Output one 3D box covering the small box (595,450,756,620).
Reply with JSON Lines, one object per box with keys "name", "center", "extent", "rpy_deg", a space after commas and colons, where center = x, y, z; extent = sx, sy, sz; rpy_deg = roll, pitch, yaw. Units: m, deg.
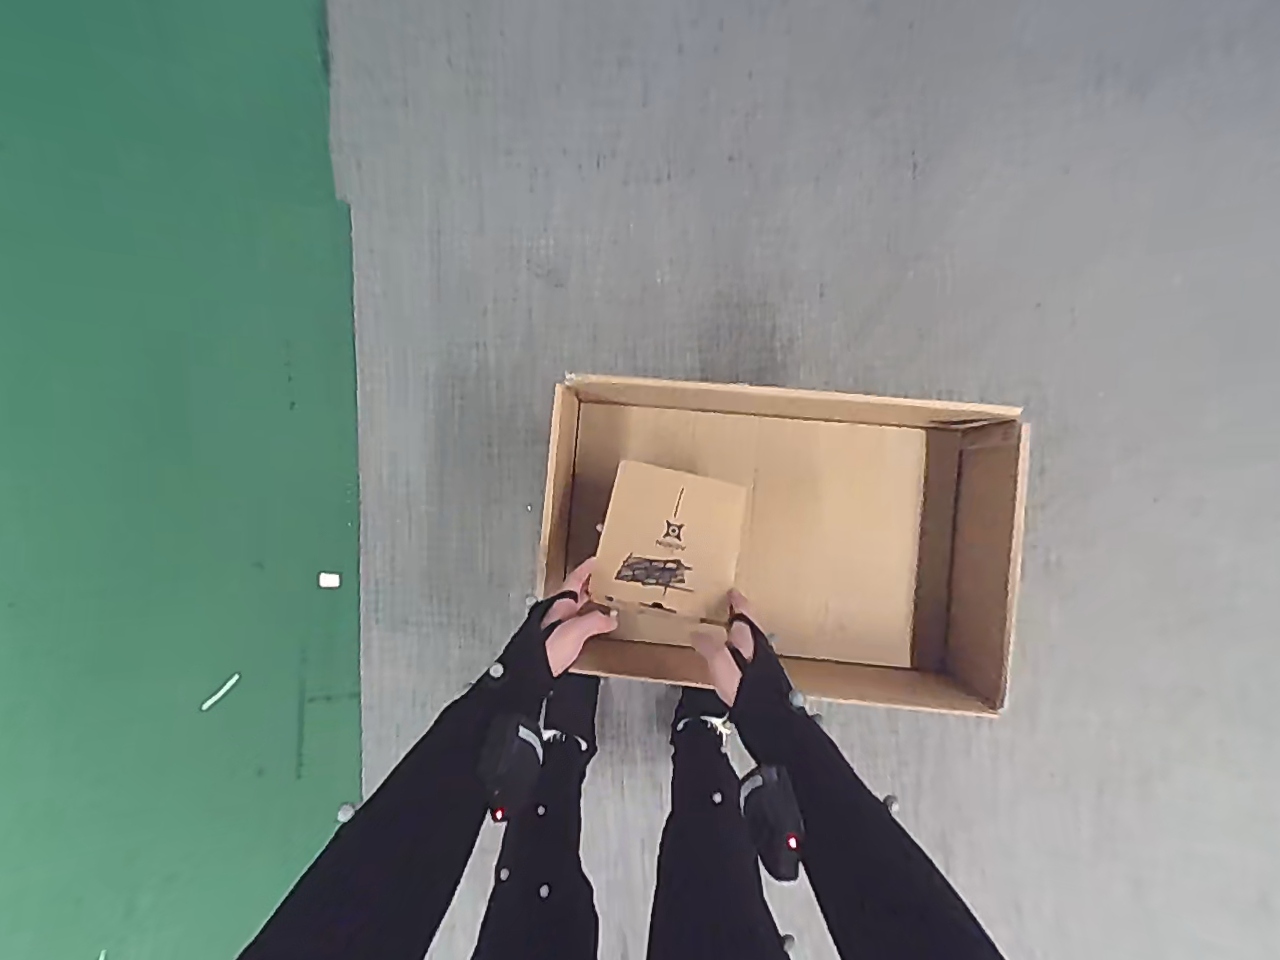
{"name": "small box", "center": [0.043, 0.084, 0.721], "extent": [0.168, 0.176, 0.179], "rpy_deg": [13, 74, 1]}
